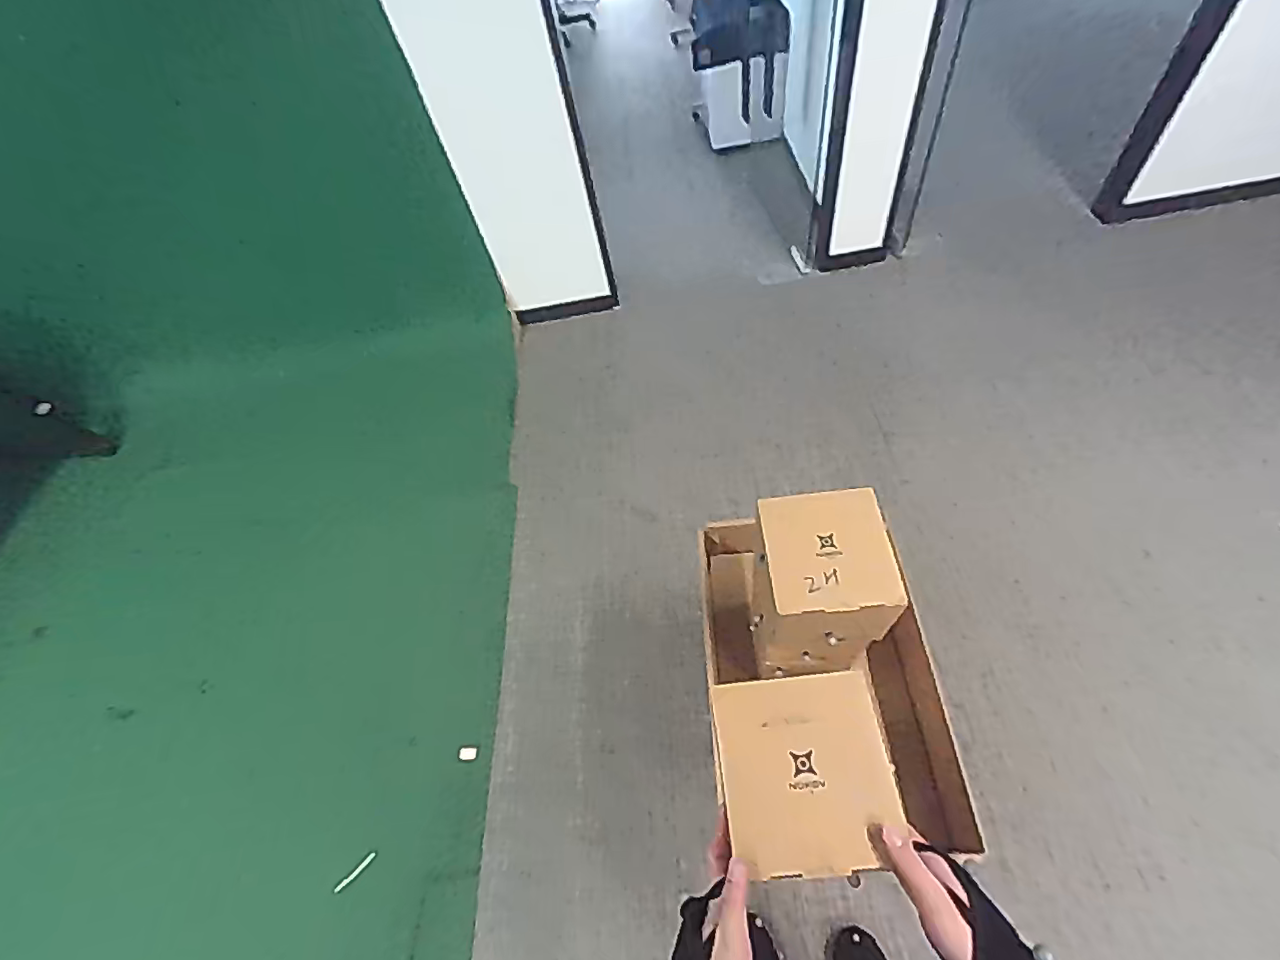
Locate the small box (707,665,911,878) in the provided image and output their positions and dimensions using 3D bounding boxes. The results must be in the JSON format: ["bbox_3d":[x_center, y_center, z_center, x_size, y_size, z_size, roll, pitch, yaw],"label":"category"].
[{"bbox_3d":[0.170,0.320,0.599,0.168,0.176,0.179,-8,57,4],"label":"small box"}]

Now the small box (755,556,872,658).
[{"bbox_3d":[0.294,0.201,0.947,0.168,0.176,0.179,-5,58,8],"label":"small box"}]

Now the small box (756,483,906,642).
[{"bbox_3d":[0.266,0.127,0.801,0.168,0.176,0.179,-7,58,7],"label":"small box"}]
